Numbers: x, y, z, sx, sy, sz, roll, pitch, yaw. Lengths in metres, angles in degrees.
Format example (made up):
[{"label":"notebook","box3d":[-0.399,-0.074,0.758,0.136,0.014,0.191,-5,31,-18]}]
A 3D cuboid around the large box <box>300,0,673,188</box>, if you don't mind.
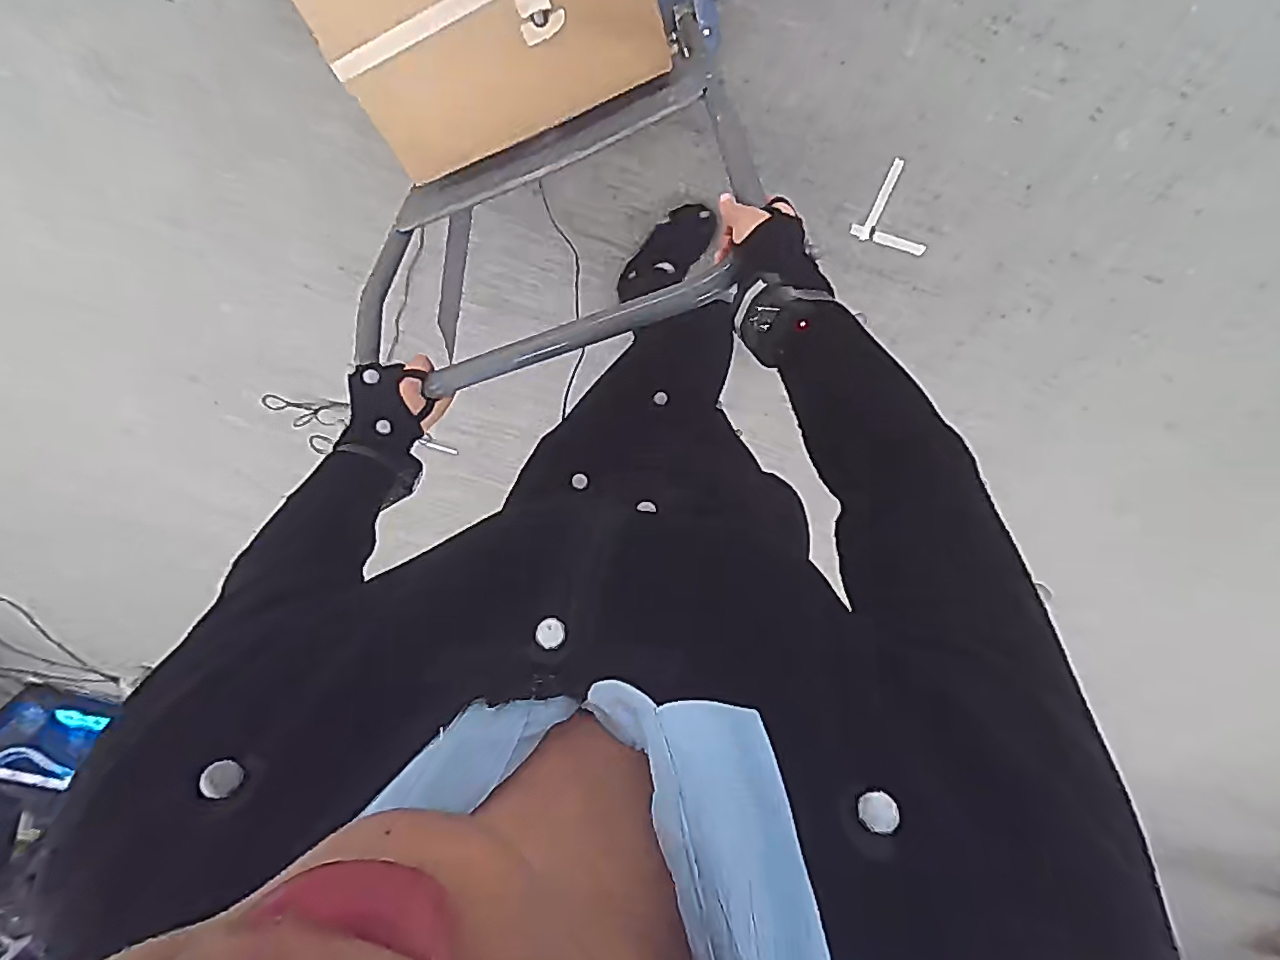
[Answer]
[{"label":"large box","box3d":[-0.200,-0.689,0.750,0.408,0.320,0.320,-16,138,15]}]
